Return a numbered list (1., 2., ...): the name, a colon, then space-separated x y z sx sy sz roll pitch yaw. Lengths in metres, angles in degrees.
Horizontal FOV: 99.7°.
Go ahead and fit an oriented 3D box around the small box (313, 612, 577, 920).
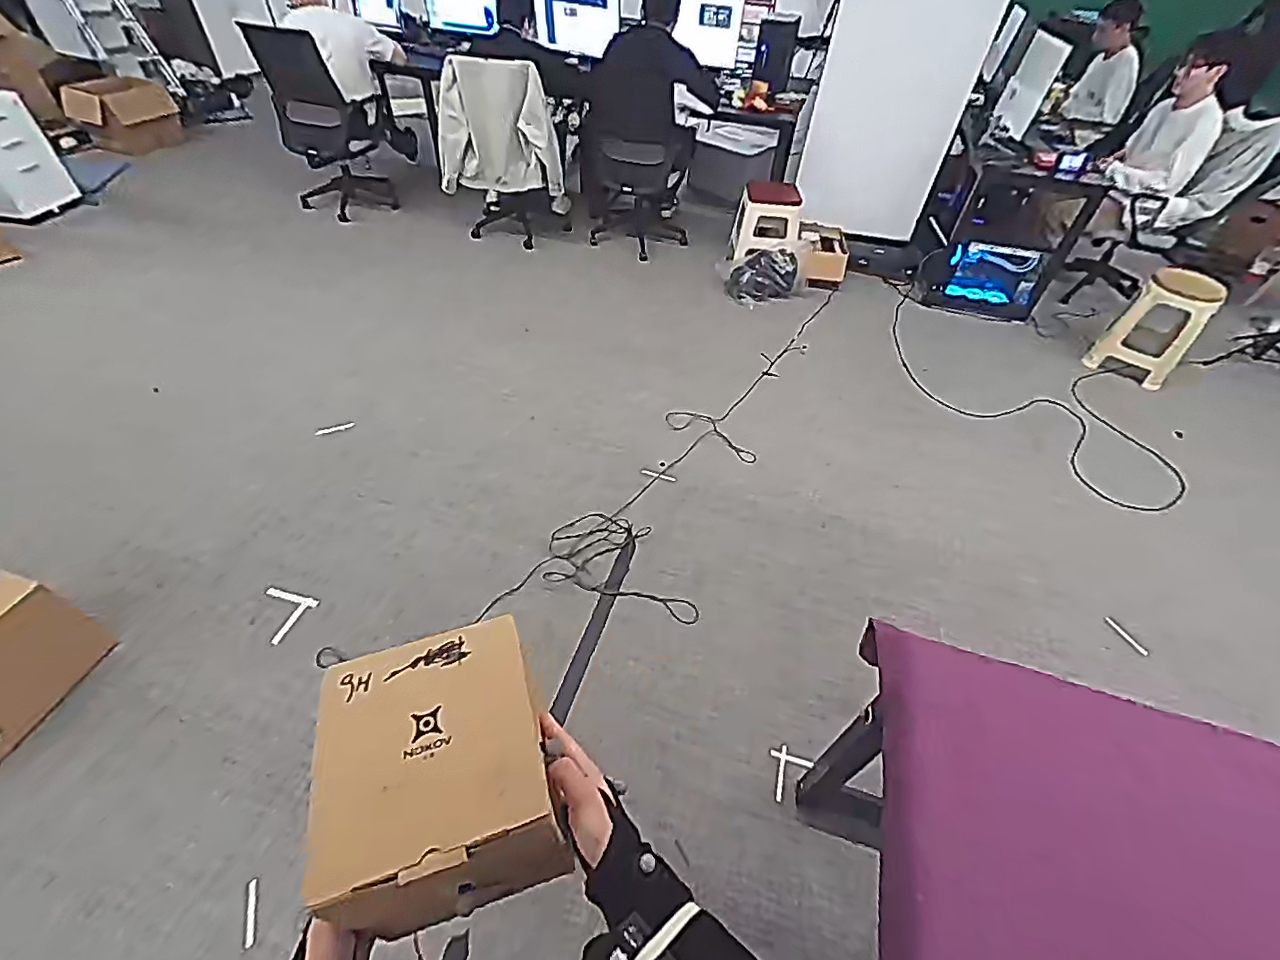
1. small box: -0.158 0.253 0.476 0.168 0.176 0.179 -14 47 -13
